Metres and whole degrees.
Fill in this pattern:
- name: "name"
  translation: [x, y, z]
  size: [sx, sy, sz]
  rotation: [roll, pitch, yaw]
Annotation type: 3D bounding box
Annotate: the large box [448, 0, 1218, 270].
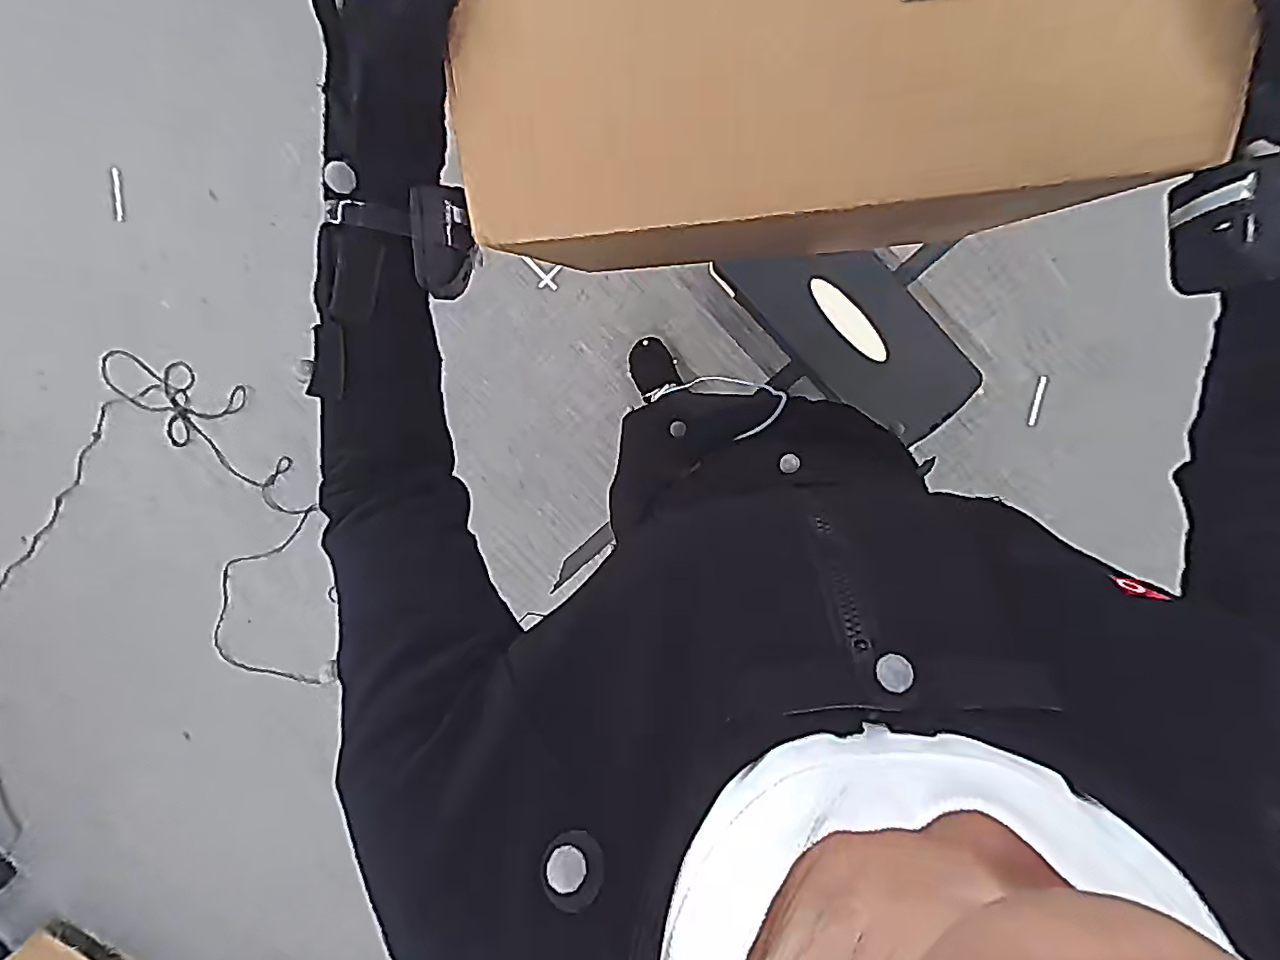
- name: "large box"
  translation: [0.098, -0.356, 0.412]
  size: [0.408, 0.320, 0.320]
  rotation: [-4, 108, 7]
